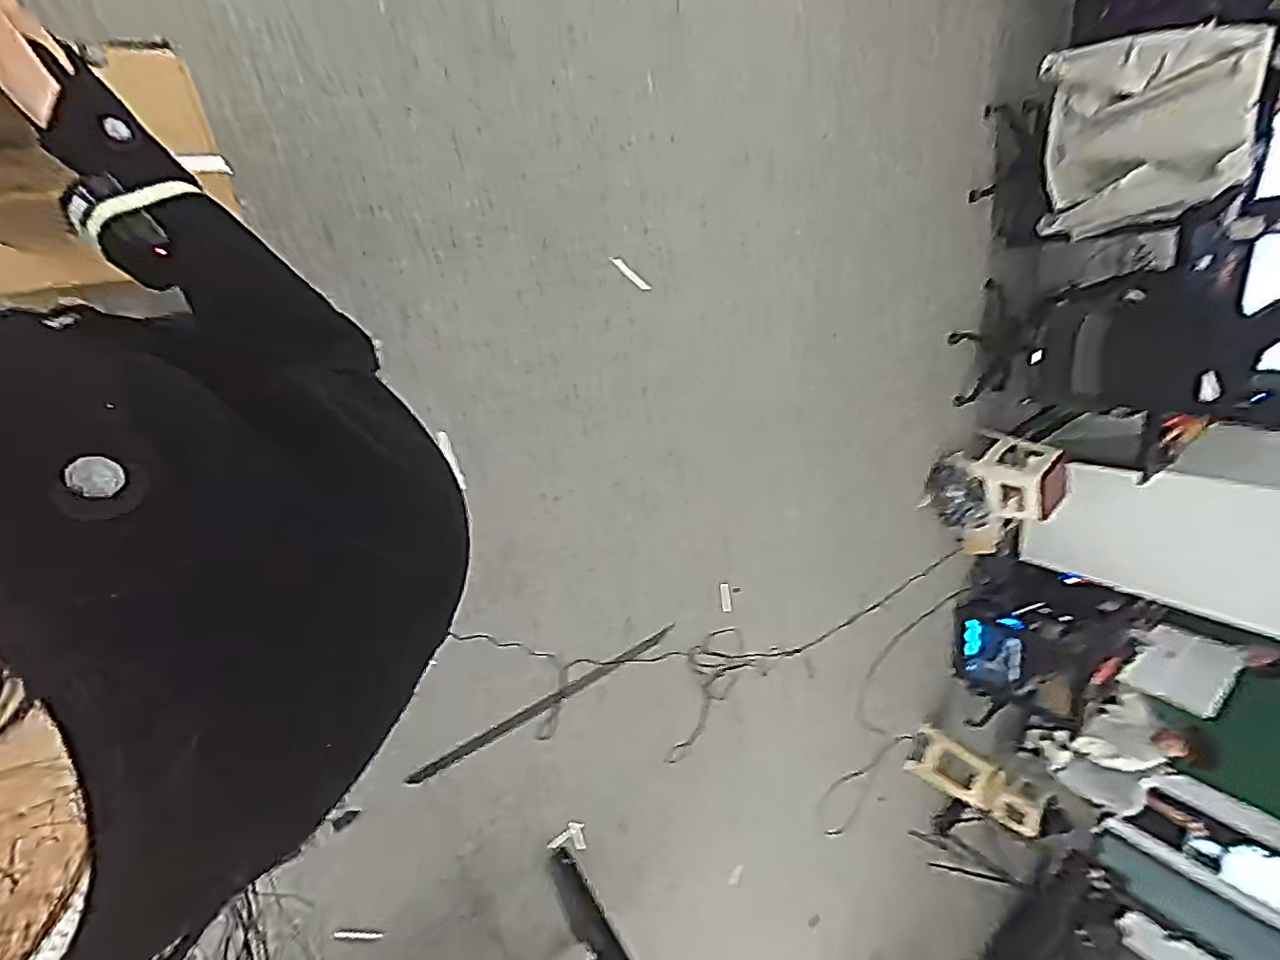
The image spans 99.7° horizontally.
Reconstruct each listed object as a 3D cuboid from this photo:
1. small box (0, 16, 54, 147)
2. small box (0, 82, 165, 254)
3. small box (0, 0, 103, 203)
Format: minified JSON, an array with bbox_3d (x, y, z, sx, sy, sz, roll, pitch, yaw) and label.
[{"bbox_3d":[-0.527,-0.318,0.326,0.168,0.176,0.179,-25,117,-27],"label":"small box"},{"bbox_3d":[-0.792,-0.411,0.730,0.179,0.176,0.168,-25,116,-29],"label":"small box"},{"bbox_3d":[-0.618,-0.348,0.460,0.168,0.176,0.179,-24,116,-28],"label":"small box"}]
